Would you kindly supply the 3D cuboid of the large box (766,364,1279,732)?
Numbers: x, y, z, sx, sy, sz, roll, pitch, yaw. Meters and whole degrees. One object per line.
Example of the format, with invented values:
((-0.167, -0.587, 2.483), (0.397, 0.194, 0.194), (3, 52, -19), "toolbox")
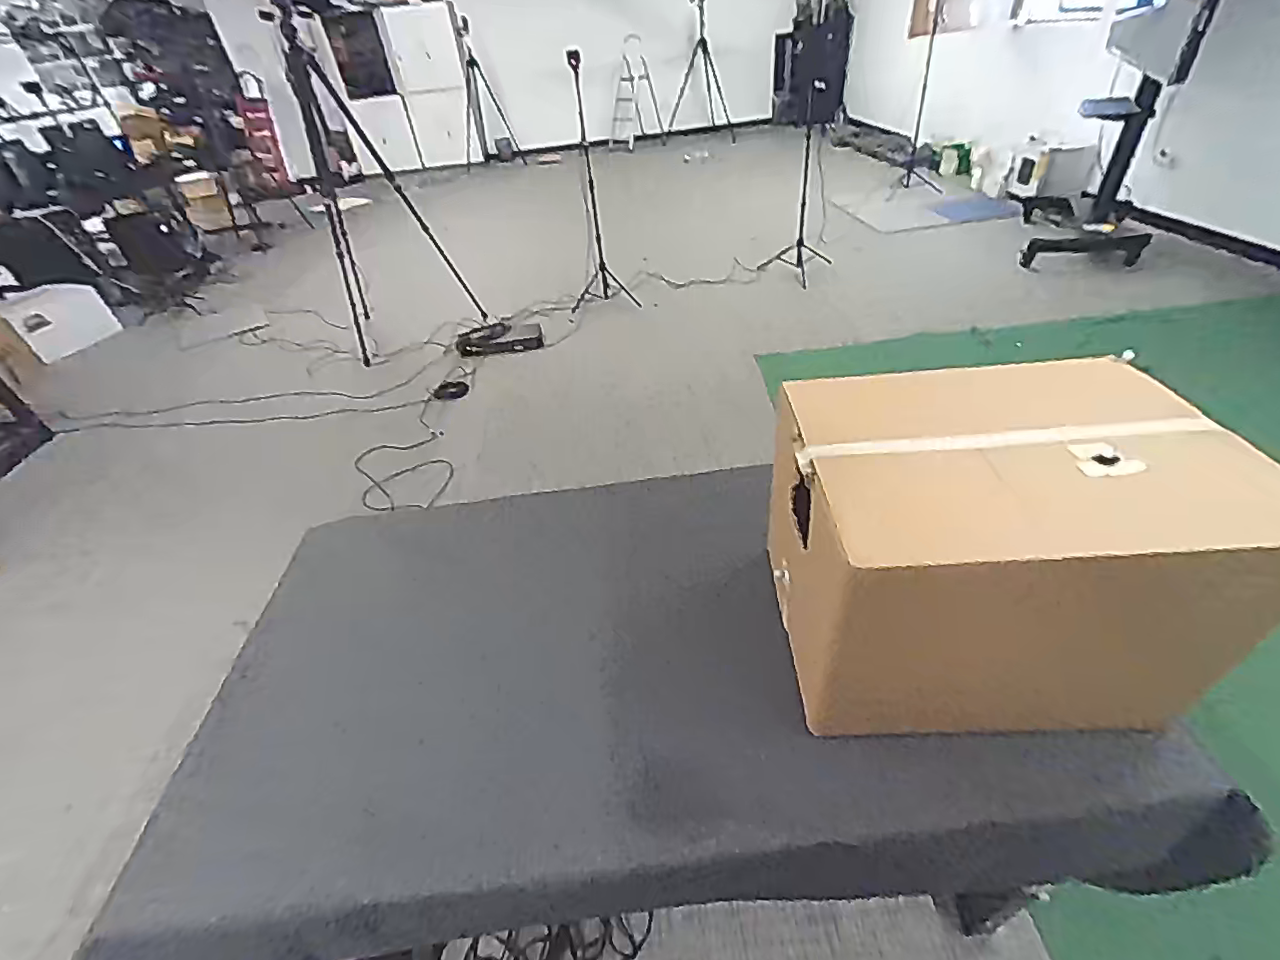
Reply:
((0.388, 0.079, 0.655), (0.408, 0.320, 0.320), (-3, 40, 3), "large box")
